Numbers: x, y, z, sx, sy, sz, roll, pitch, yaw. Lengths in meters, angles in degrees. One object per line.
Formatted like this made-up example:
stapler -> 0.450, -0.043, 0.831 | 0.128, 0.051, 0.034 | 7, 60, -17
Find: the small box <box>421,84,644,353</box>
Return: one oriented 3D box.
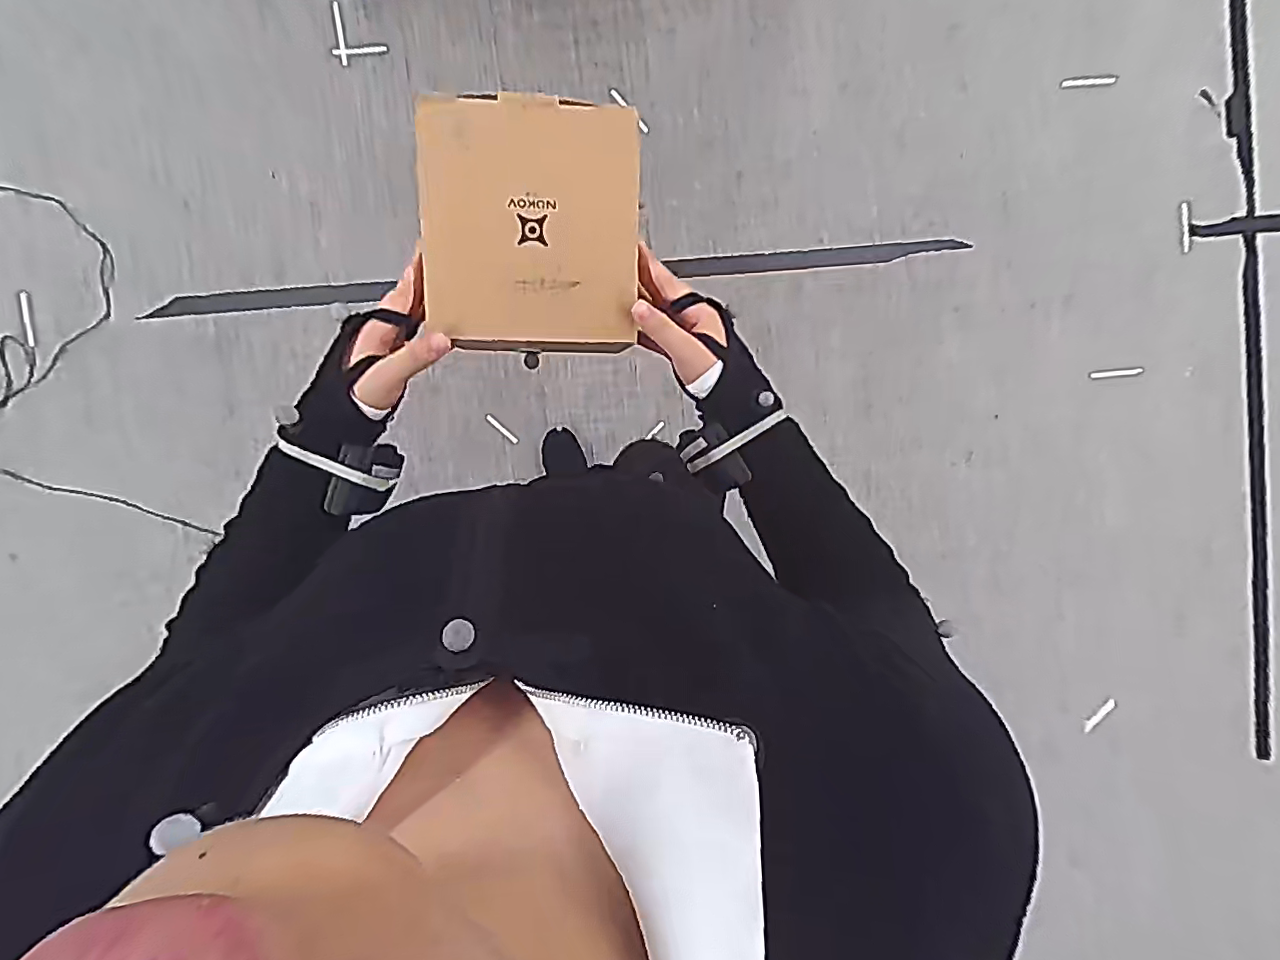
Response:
small box -> -0.090, -0.212, 0.490 | 0.168, 0.176, 0.179 | 0, 100, -7
